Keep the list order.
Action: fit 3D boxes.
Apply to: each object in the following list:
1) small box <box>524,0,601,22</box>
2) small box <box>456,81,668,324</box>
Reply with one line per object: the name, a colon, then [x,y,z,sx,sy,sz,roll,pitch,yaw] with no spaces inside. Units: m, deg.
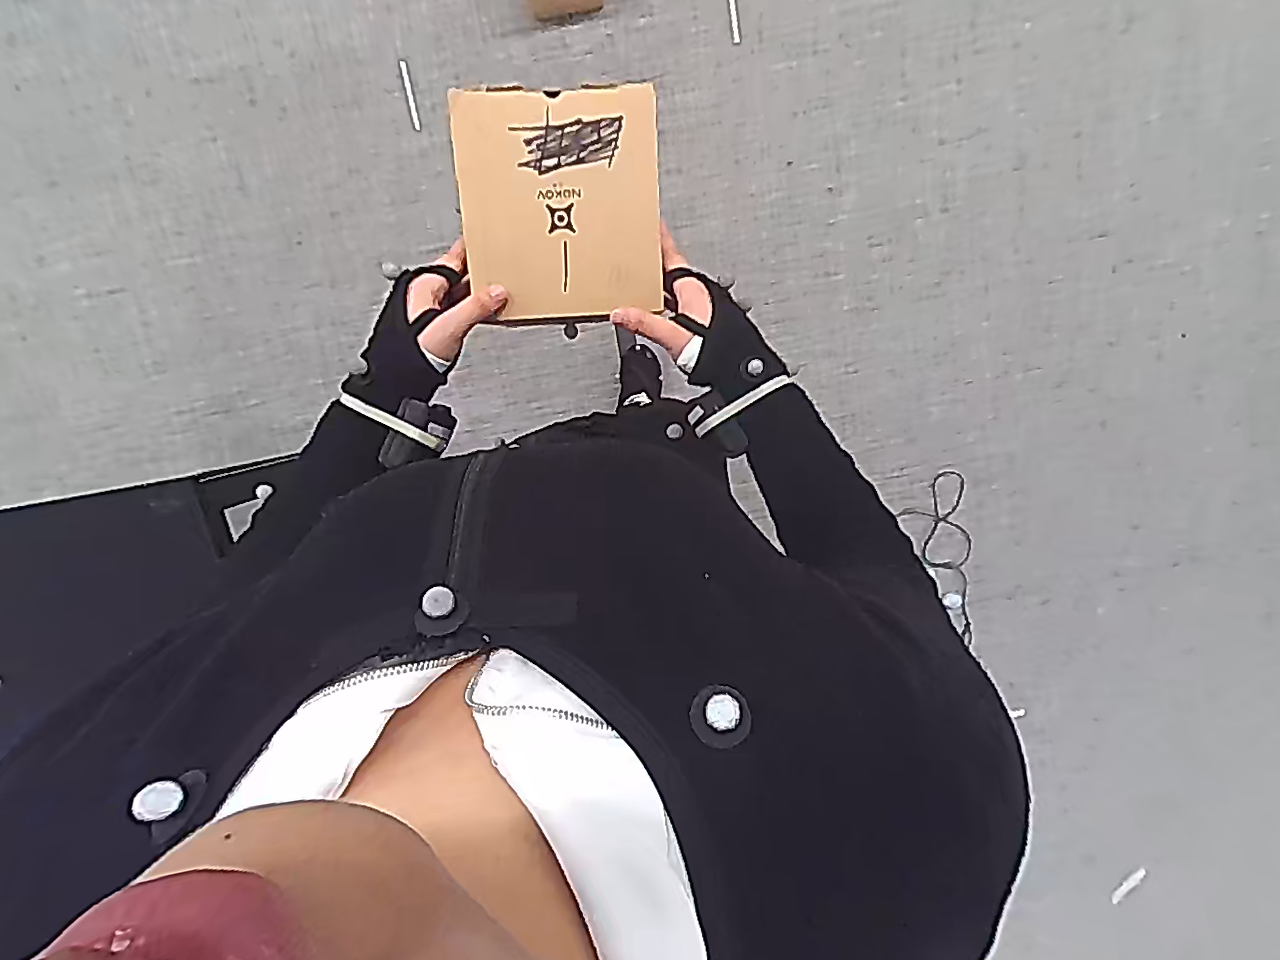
small box: [-0.187,-1.161,1.192,0.179,0.176,0.168,-10,101,0]
small box: [-0.067,-0.247,0.522,0.168,0.176,0.179,-4,105,-4]
